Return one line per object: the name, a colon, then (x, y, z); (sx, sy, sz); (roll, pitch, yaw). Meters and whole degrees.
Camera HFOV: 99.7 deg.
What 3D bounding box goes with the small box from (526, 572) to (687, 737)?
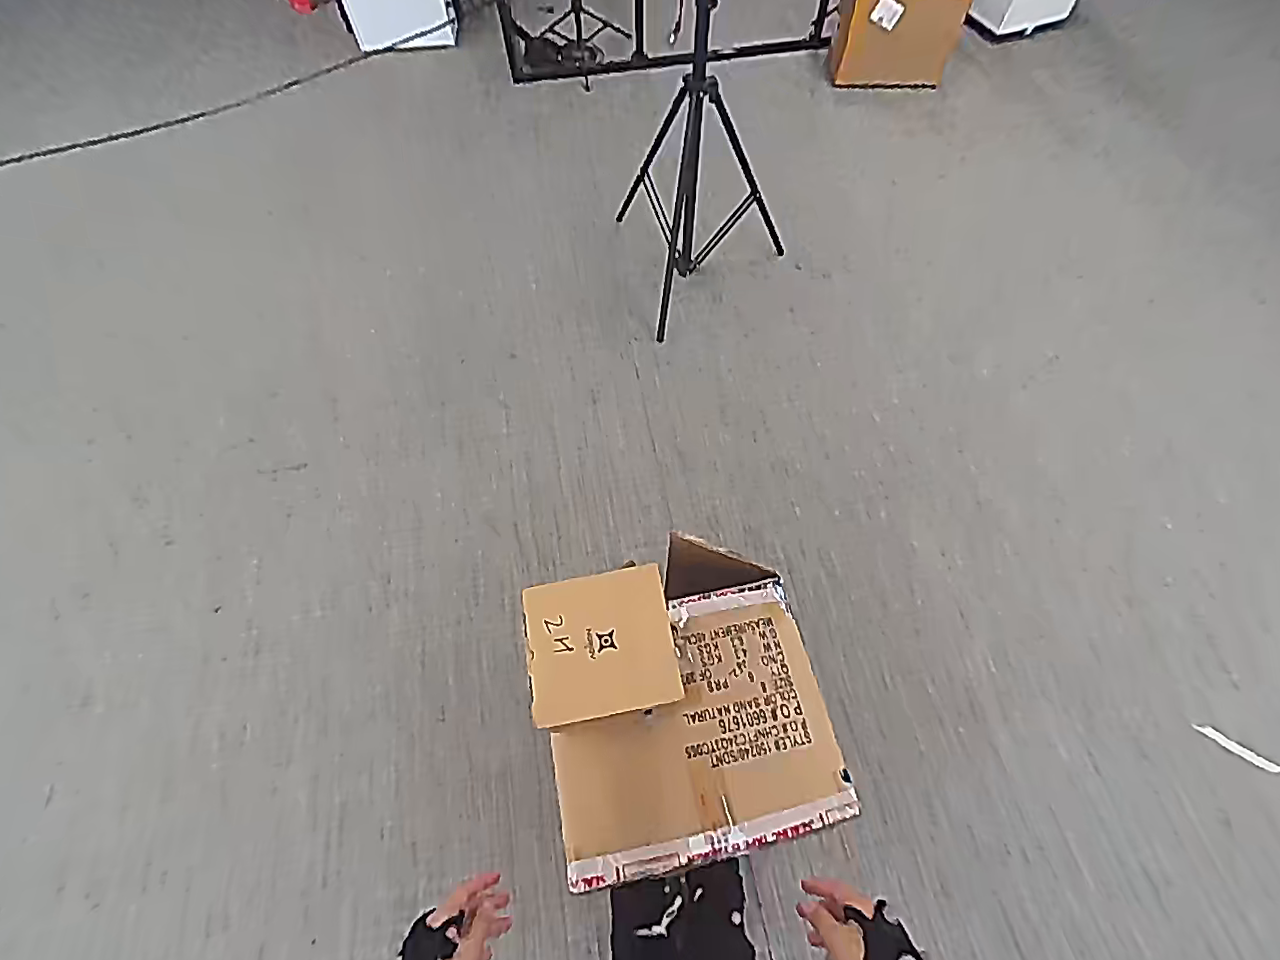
small box: (-0.042, 0.236, 0.717); (0.179, 0.176, 0.168); (-11, 63, -2)
